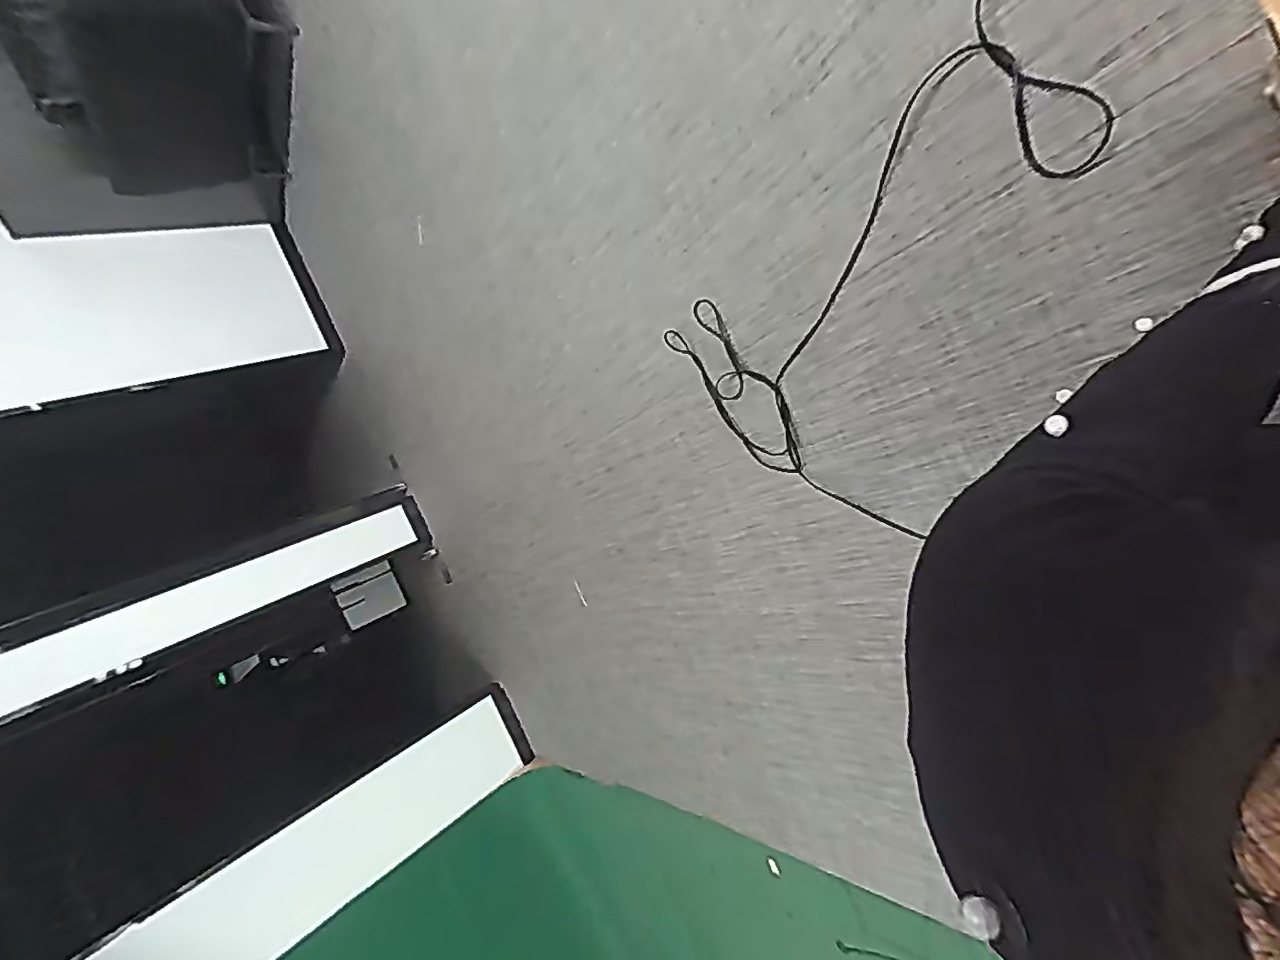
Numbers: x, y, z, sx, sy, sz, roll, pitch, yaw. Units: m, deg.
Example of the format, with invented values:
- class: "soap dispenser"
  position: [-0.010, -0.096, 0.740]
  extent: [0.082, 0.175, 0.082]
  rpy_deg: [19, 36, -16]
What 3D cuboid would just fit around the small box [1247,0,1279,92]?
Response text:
- class: "small box"
  position: [0.603, -0.328, 0.391]
  extent: [0.179, 0.176, 0.168]
  rpy_deg: [-22, 79, 52]
